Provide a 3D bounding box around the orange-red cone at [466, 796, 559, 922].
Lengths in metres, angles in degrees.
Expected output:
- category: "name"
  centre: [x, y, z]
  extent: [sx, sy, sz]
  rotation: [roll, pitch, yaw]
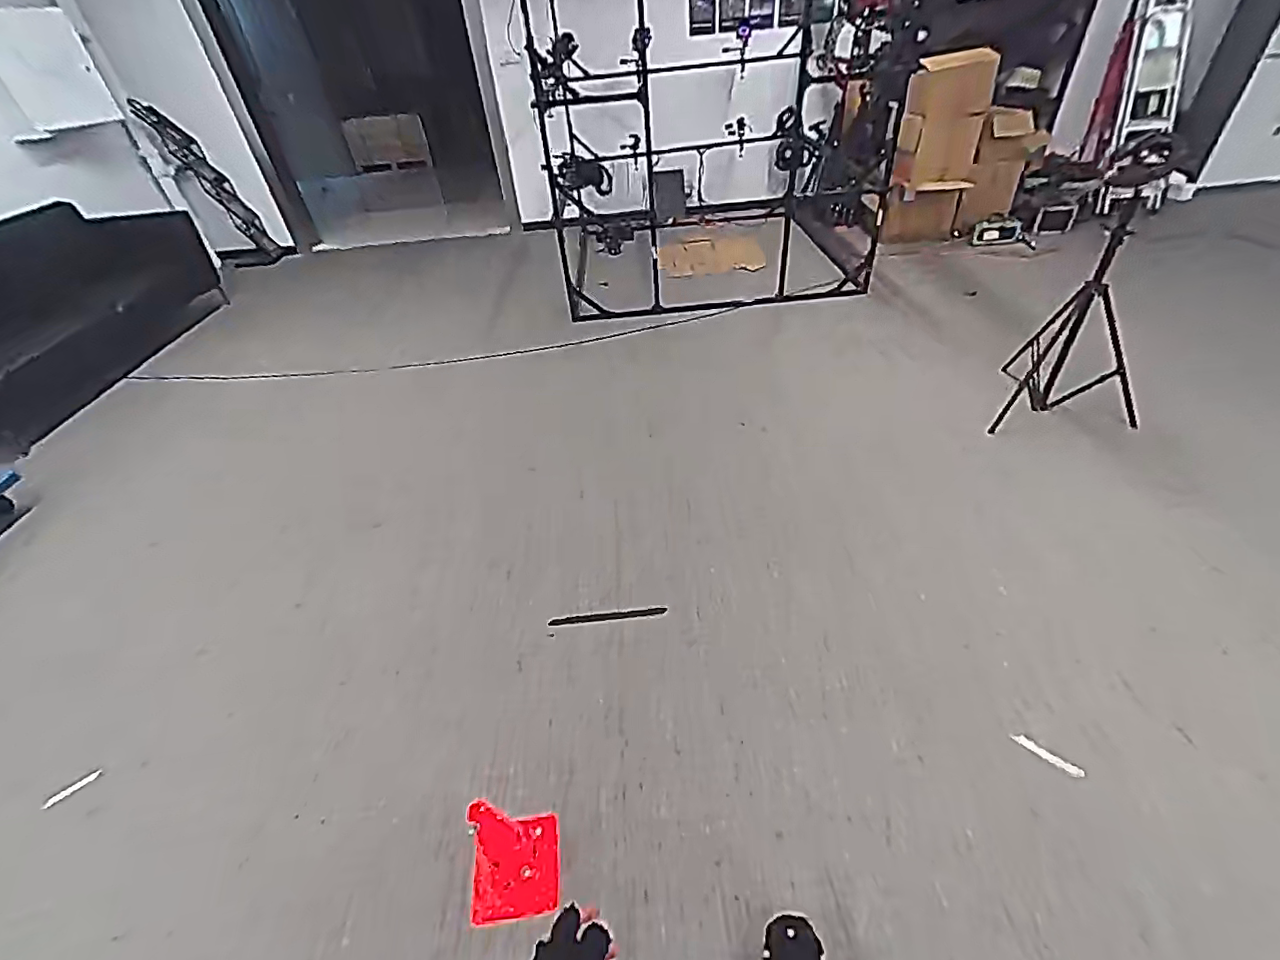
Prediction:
- category: "orange-red cone"
  centre: [-0.305, 0.766, 1.152]
  extent: [0.199, 0.360, 0.198]
  rotation: [-9, 39, -2]
